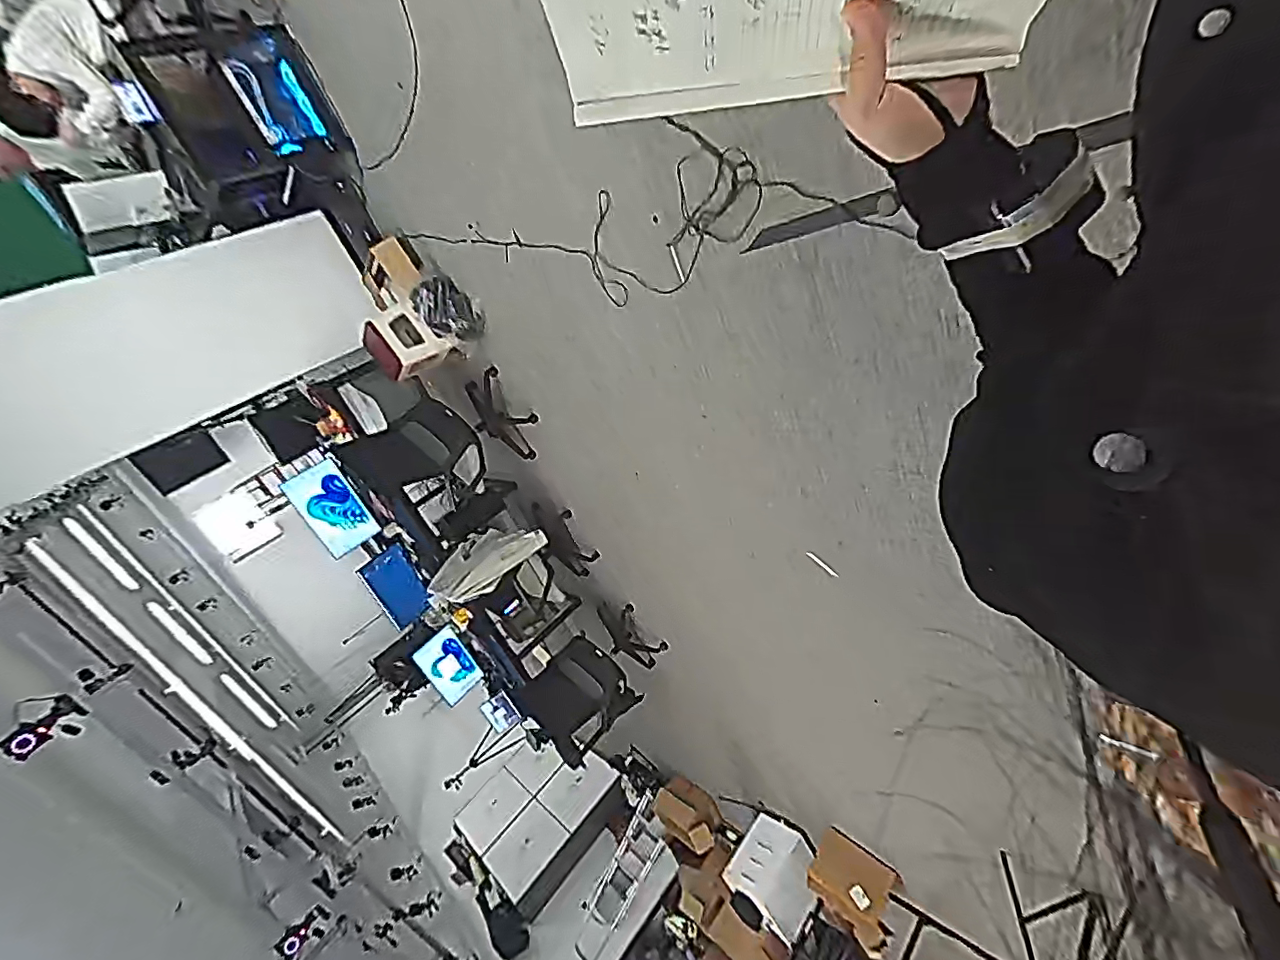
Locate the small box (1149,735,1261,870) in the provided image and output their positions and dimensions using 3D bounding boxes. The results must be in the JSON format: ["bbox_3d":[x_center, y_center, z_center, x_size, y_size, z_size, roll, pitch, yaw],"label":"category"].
[{"bbox_3d":[1.298,0.729,1.244,0.168,0.176,0.179,3,126,51],"label":"small box"}]
